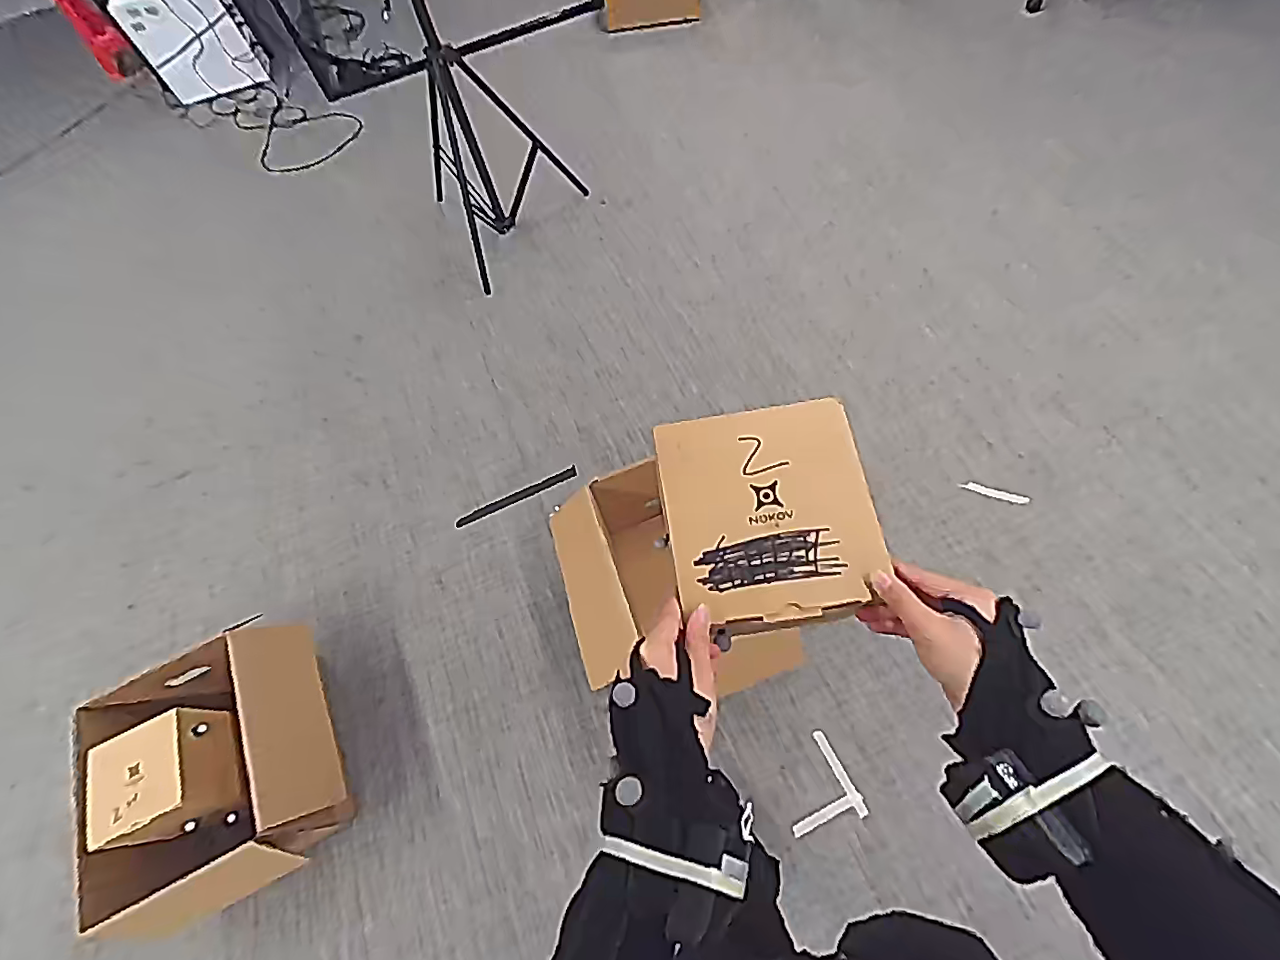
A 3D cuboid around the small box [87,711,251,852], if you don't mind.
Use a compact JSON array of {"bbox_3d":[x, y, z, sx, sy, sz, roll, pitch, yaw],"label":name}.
[{"bbox_3d":[-0.884,0.567,1.029,0.168,0.176,0.179,-26,63,-6],"label":"small box"}]
